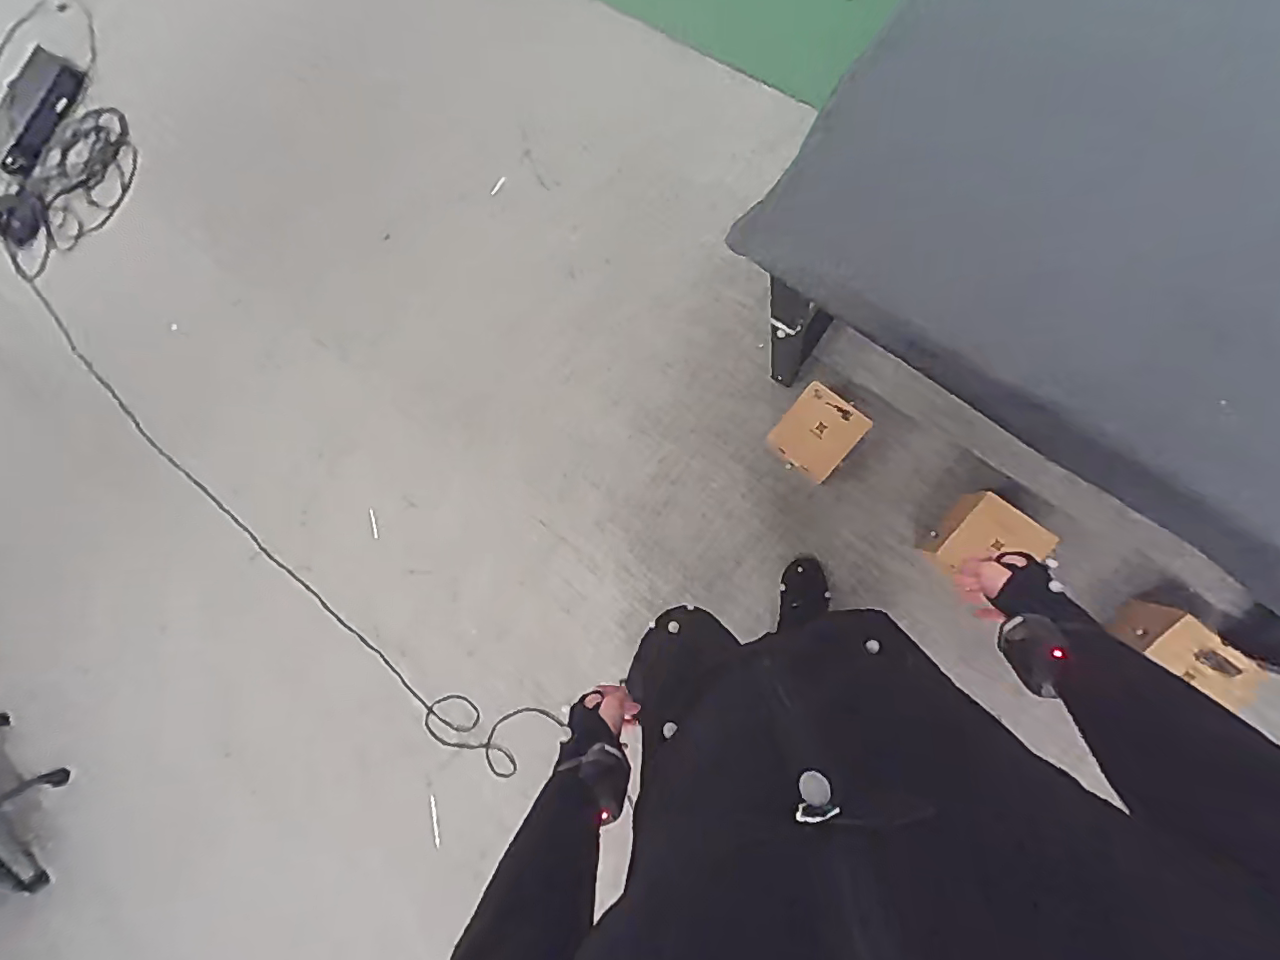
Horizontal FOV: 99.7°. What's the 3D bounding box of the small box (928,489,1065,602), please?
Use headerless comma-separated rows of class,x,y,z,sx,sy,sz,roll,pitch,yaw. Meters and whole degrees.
small box,0.769,0.141,1.196,0.168,0.176,0.179,38,94,13
